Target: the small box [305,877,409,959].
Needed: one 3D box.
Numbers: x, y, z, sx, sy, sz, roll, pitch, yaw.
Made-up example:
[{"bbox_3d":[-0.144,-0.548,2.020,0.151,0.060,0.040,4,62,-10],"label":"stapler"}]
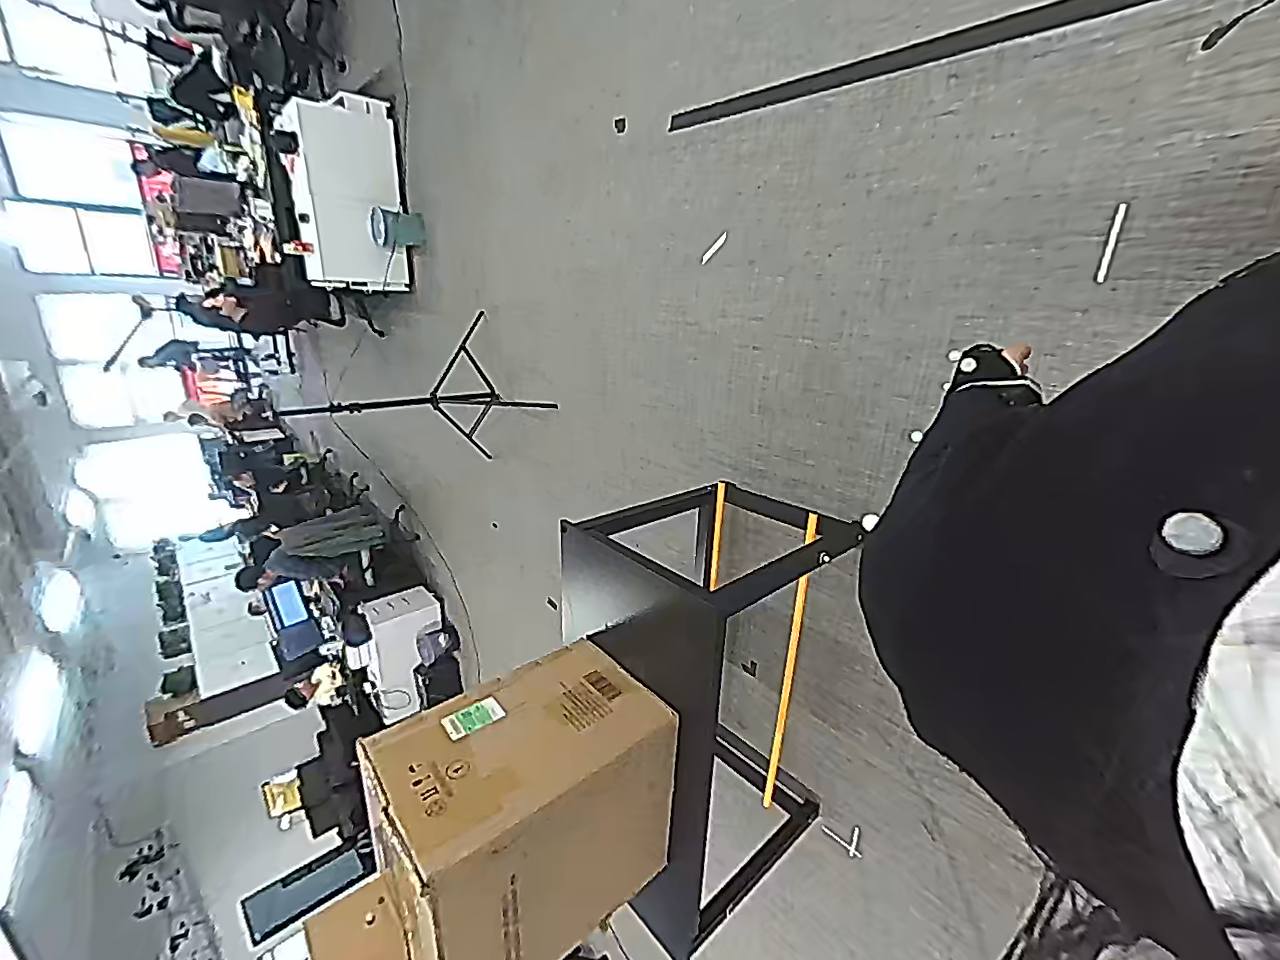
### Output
[{"bbox_3d":[-0.611,1.034,1.178,0.168,0.176,0.179,23,116,46],"label":"small box"}]
